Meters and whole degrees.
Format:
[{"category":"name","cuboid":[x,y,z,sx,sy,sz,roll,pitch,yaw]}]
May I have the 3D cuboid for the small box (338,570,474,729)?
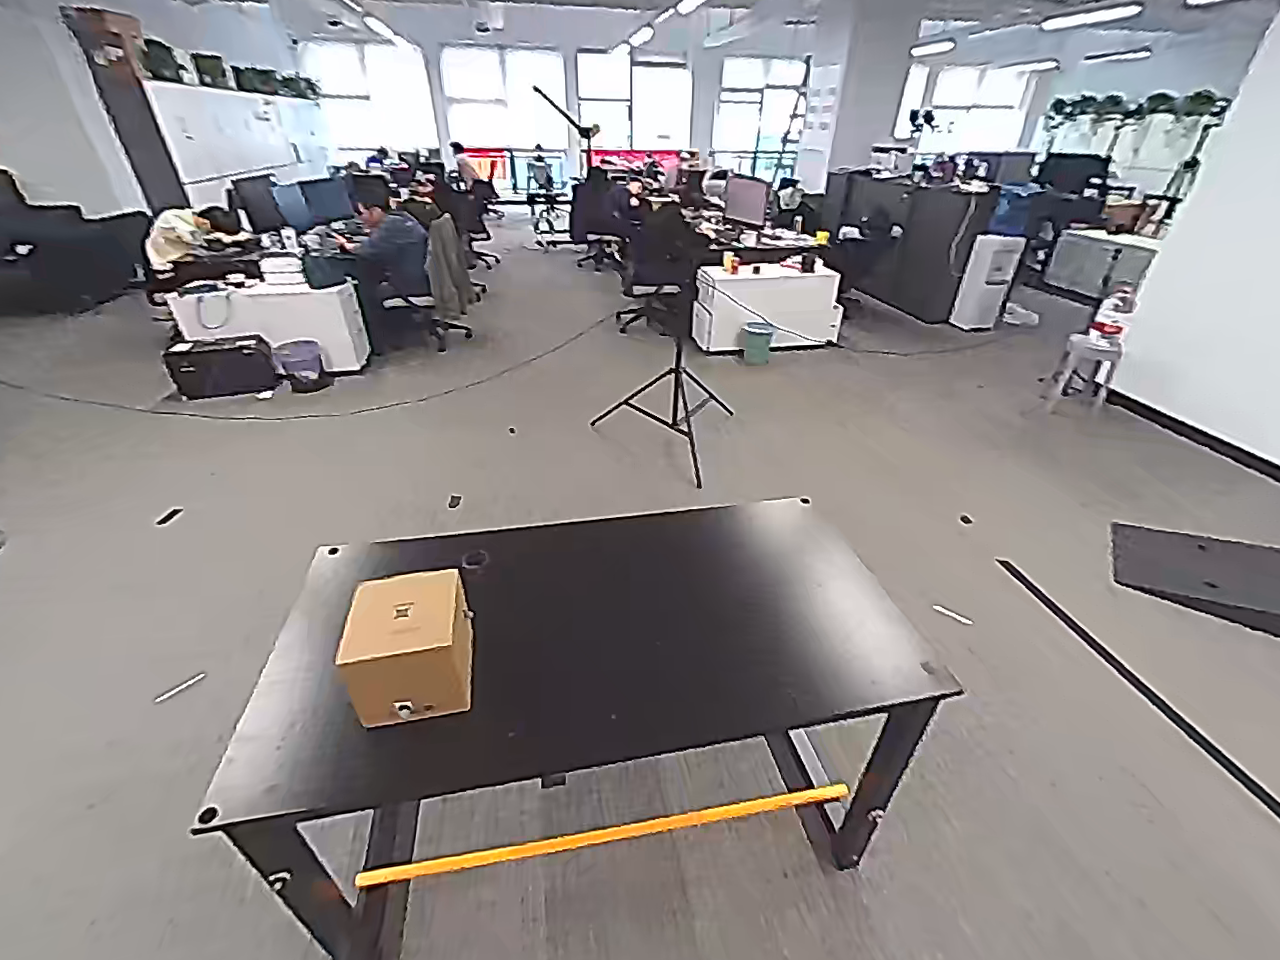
[{"category":"small box","cuboid":[-0.380,0.282,0.912,0.168,0.176,0.179,-8,35,-11]}]
